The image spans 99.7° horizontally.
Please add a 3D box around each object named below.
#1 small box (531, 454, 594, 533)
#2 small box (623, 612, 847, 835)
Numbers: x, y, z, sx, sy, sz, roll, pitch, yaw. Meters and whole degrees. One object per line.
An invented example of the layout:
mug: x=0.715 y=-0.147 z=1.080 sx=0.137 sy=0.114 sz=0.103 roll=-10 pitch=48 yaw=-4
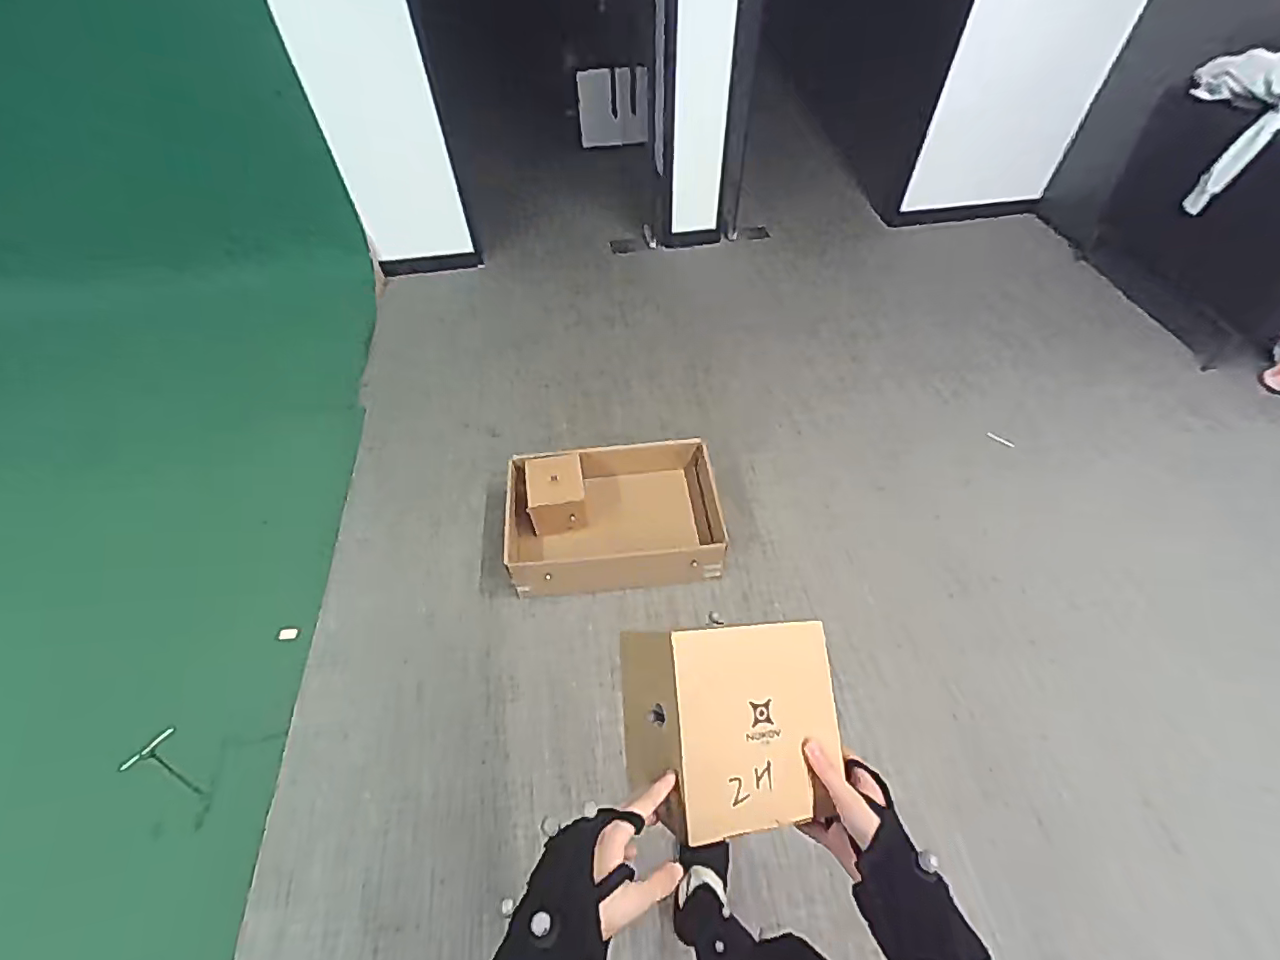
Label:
small box: x=-0.235 y=0.048 z=1.649 sx=0.168 sy=0.176 sz=0.179 roll=-8 pitch=53 yaw=-5
small box: x=0.084 y=0.235 z=0.566 sx=0.168 sy=0.176 sz=0.179 roll=1 pitch=75 yaw=-18
